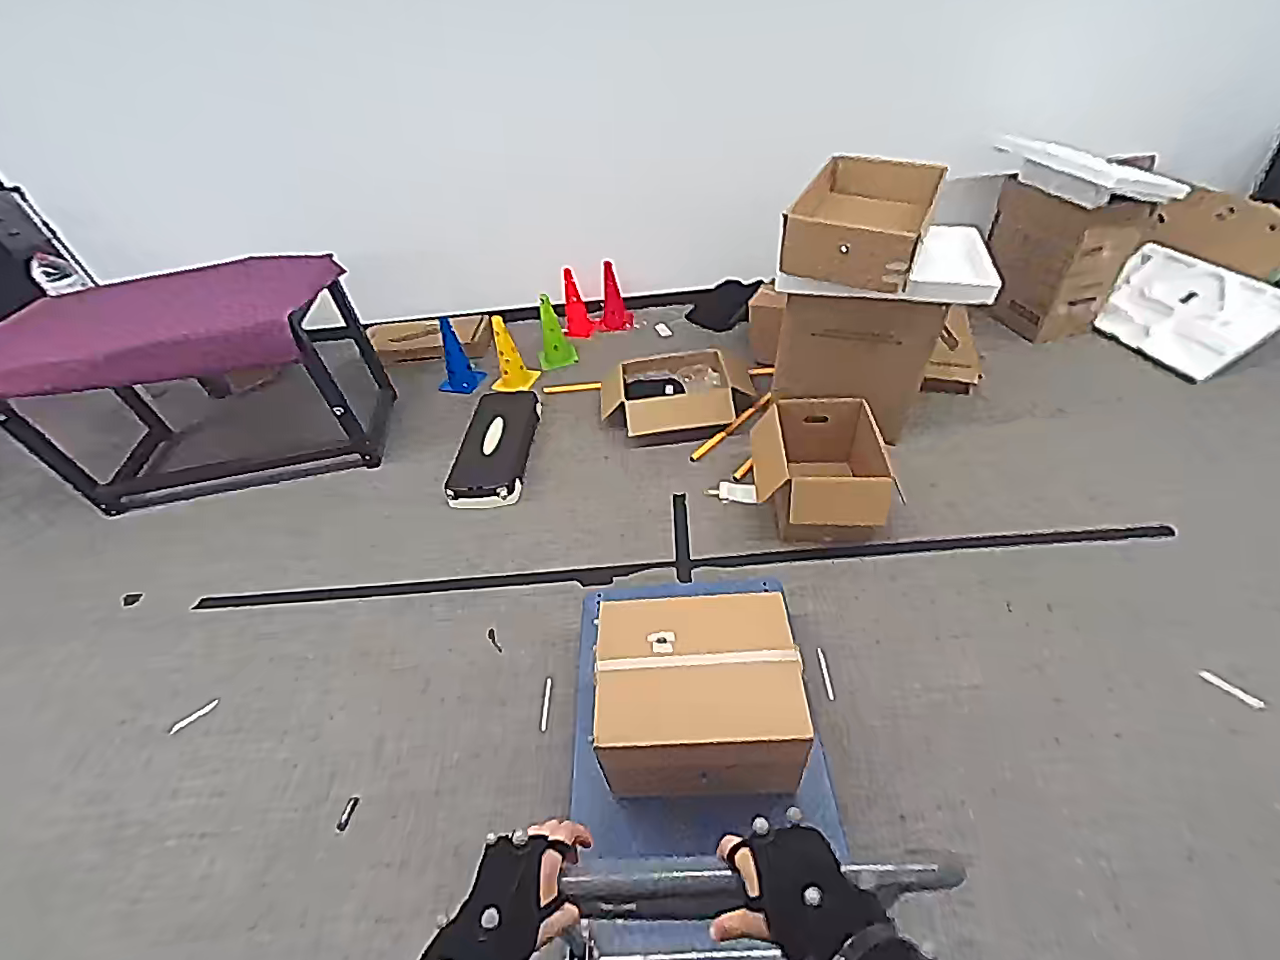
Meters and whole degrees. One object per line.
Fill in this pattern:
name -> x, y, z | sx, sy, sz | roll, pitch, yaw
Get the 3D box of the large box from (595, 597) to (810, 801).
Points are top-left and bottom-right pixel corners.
large box -> 0.128, 0.491, 1.200 | 0.408, 0.320, 0.320 | -5, 43, 4
